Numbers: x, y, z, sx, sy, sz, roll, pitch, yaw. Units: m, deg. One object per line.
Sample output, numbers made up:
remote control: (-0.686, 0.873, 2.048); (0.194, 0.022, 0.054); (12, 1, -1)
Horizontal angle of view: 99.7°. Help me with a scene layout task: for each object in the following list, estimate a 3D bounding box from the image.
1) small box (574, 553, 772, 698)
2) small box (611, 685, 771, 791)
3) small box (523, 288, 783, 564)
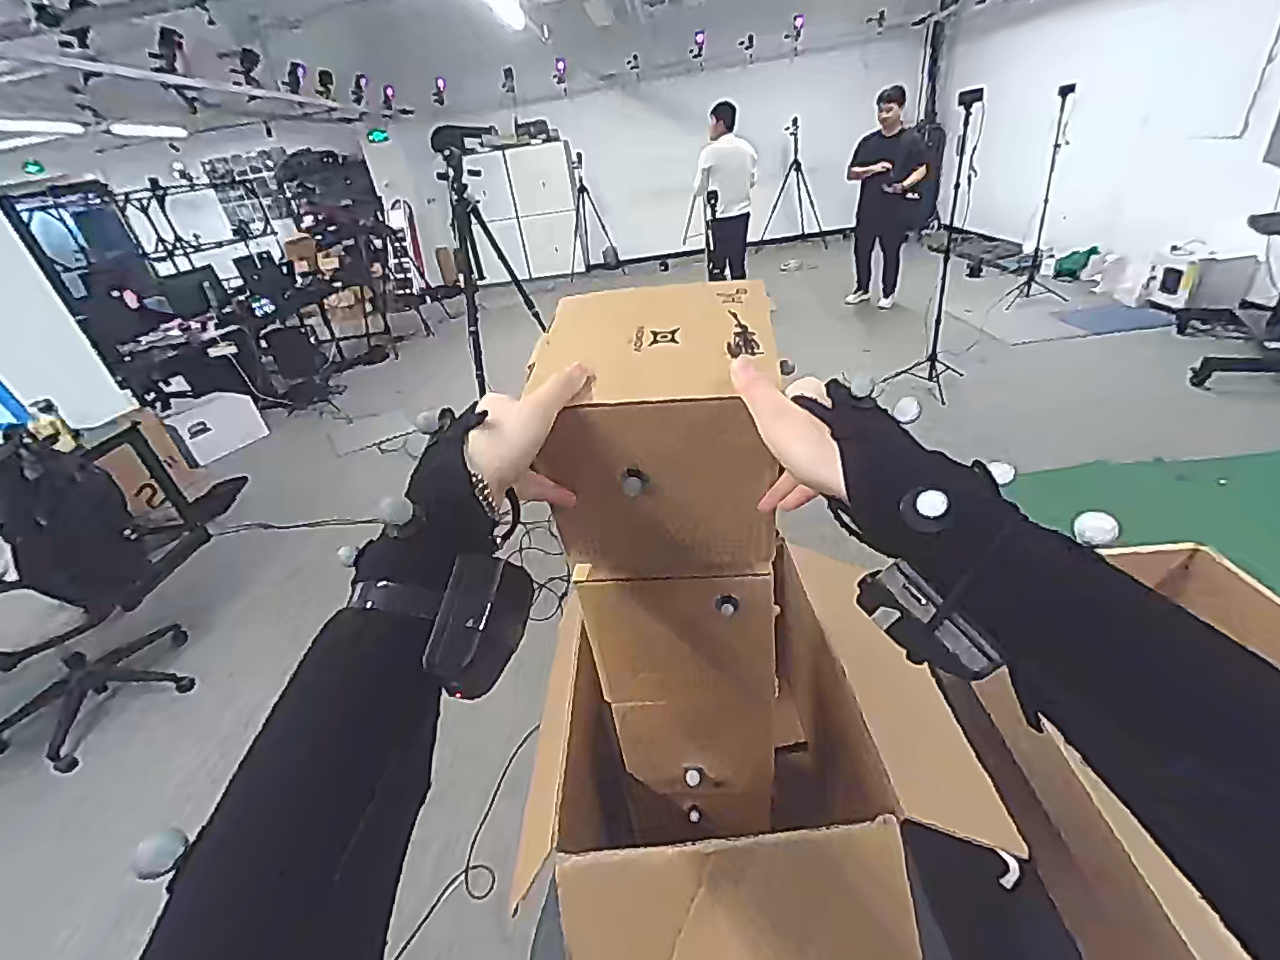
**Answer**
small box: (0.044, 0.112, 0.575); (0.179, 0.176, 0.168); (-3, 32, 8)
small box: (0.065, 0.247, 0.661); (0.168, 0.176, 0.179); (-4, 33, 7)
small box: (0.024, -0.041, 0.460); (0.179, 0.176, 0.168); (-2, 44, 9)
